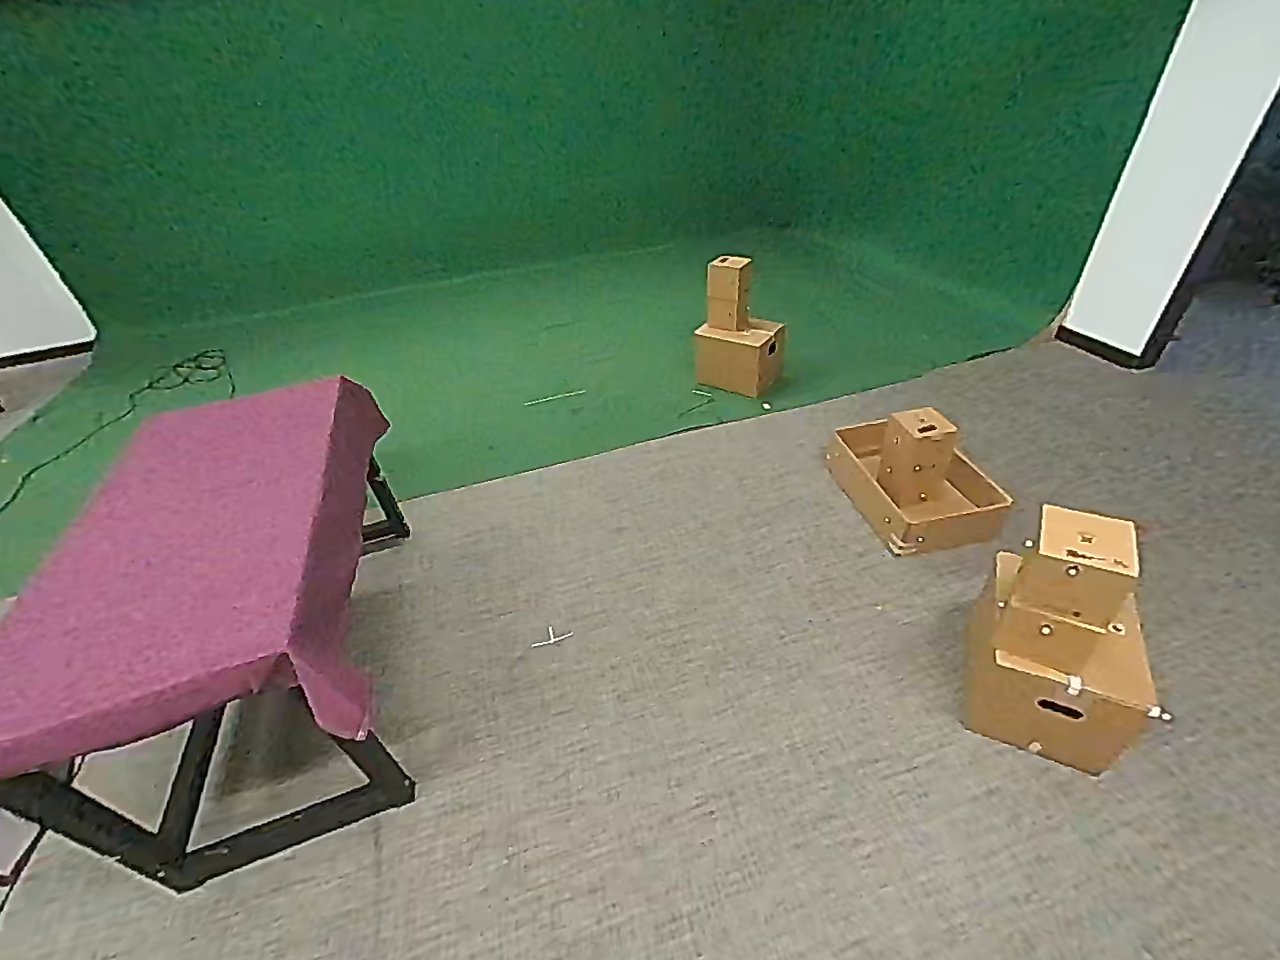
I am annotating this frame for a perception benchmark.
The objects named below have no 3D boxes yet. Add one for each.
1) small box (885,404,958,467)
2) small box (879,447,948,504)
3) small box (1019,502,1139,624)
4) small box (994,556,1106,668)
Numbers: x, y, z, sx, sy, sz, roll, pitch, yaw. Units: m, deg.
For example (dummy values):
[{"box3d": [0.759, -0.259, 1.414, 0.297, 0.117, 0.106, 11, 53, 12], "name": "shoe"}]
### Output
[{"box3d": [1.047, -0.161, 2.025, 0.168, 0.176, 0.179, -10, 37, -4], "name": "small box"}, {"box3d": [1.066, -0.032, 2.126, 0.168, 0.176, 0.179, -11, 39, -4], "name": "small box"}, {"box3d": [0.963, 0.180, 1.196, 0.168, 0.176, 0.179, 15, 43, 30], "name": "small box"}, {"box3d": [0.978, 0.317, 1.288, 0.179, 0.176, 0.168, 18, 45, 33], "name": "small box"}]
